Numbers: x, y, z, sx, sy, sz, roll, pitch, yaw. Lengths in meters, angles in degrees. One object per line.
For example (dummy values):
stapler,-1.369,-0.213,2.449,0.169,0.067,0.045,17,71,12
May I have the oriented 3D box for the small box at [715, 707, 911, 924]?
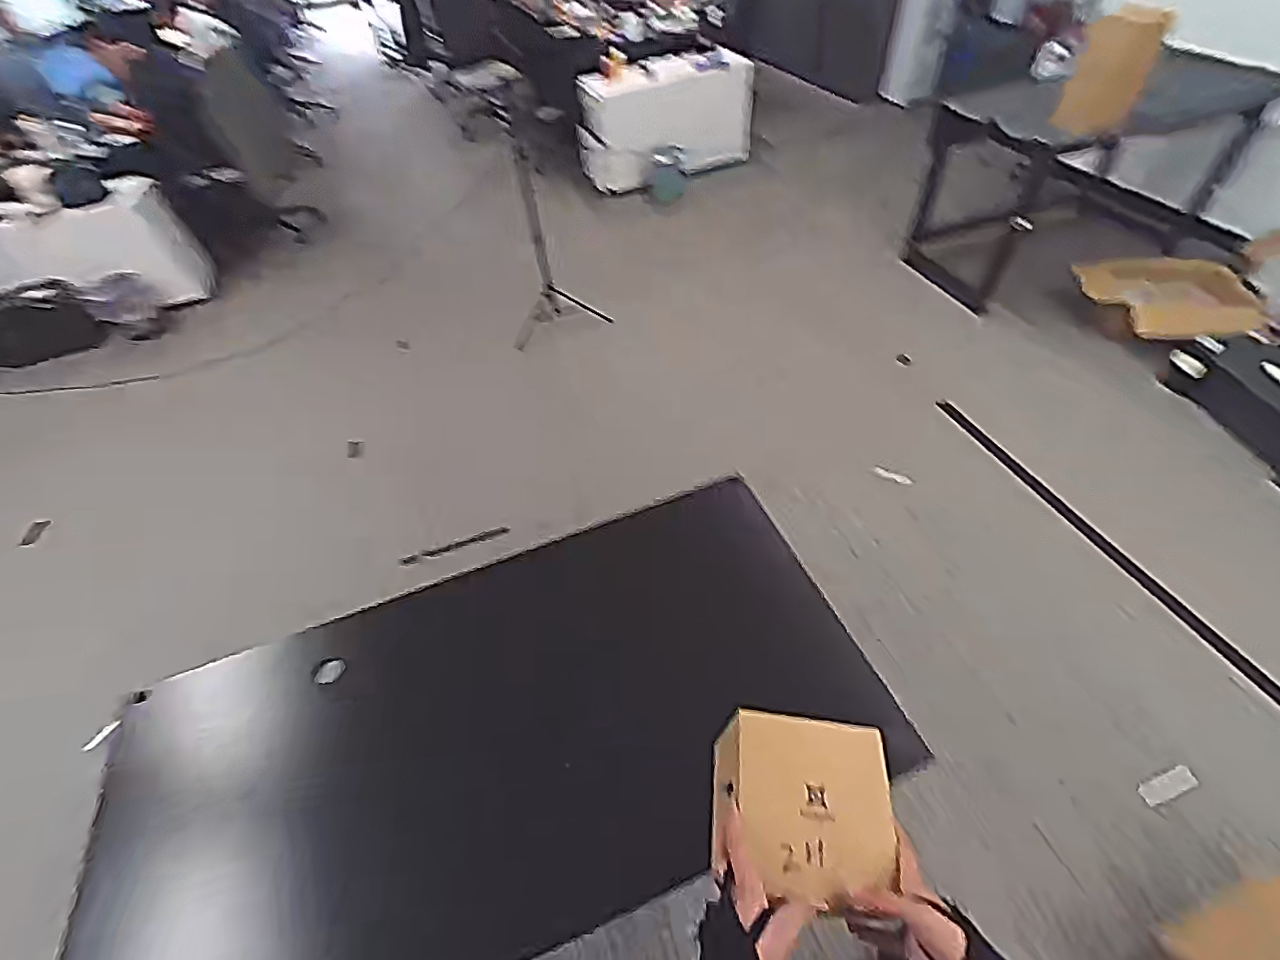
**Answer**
small box,0.183,0.390,0.627,0.168,0.176,0.179,8,51,3
